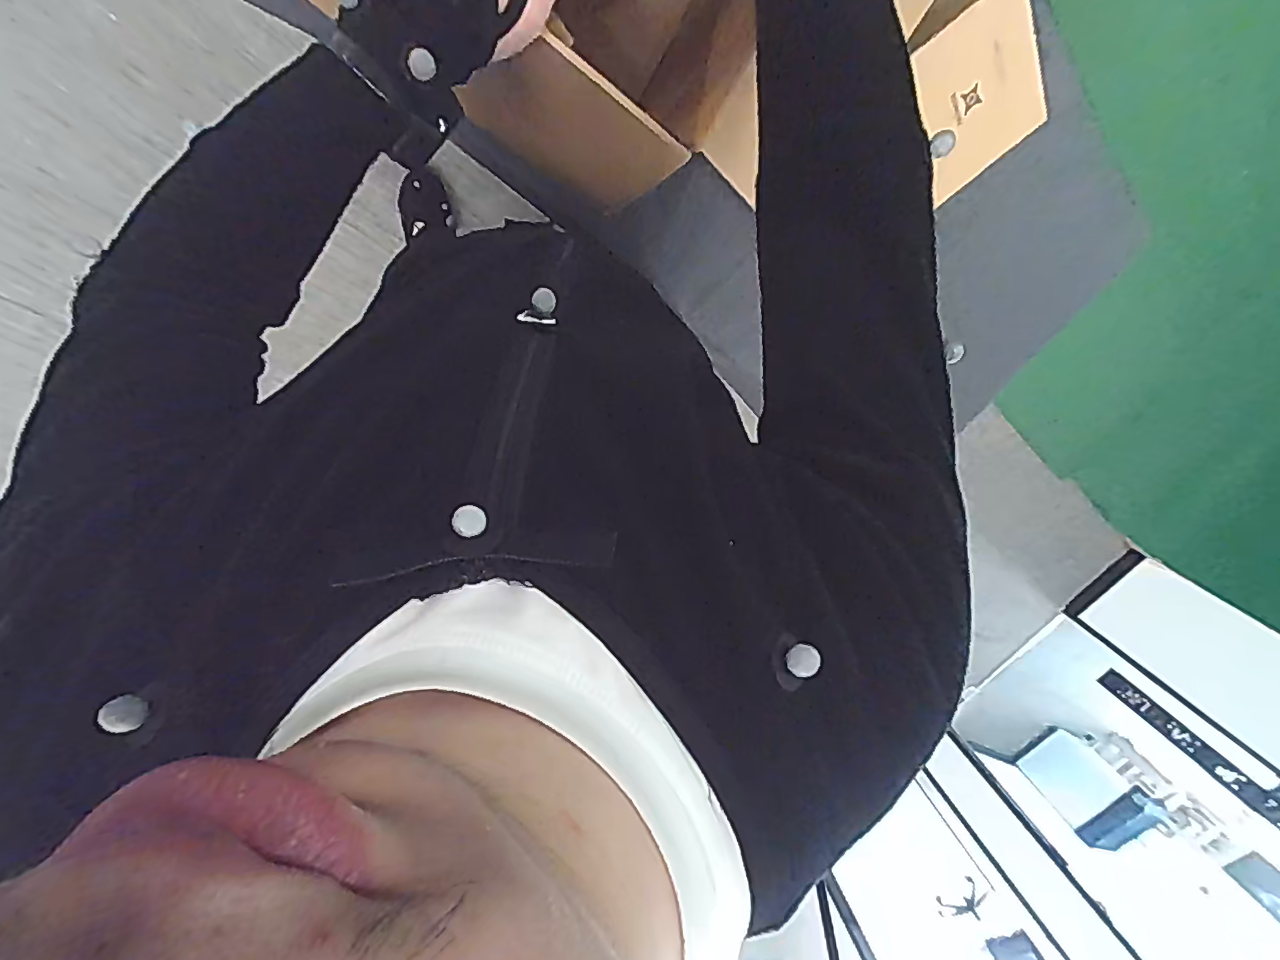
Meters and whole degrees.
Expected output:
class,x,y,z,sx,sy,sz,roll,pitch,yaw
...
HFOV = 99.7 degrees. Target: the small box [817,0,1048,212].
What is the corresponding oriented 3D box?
class,x,y,z,sx,sy,sz,roll,pitch,yaw
small box,0.345,-0.464,0.666,0.179,0.176,0.168,-39,125,7
